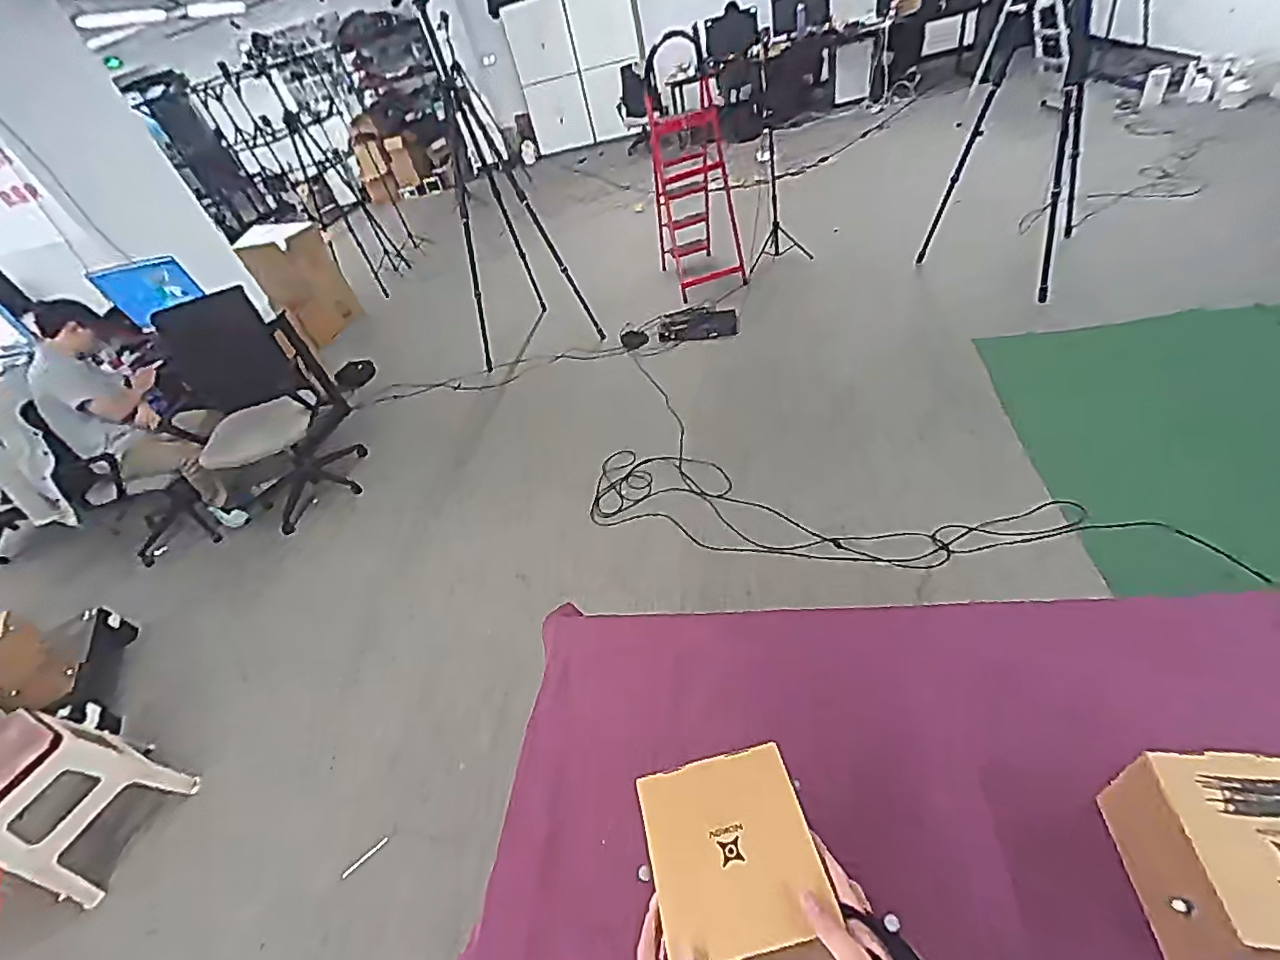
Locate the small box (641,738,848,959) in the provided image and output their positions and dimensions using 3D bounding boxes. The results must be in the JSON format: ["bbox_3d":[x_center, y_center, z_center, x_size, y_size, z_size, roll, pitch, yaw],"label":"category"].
[{"bbox_3d":[0.107,0.423,0.590,0.168,0.176,0.179,-14,38,-3],"label":"small box"}]
